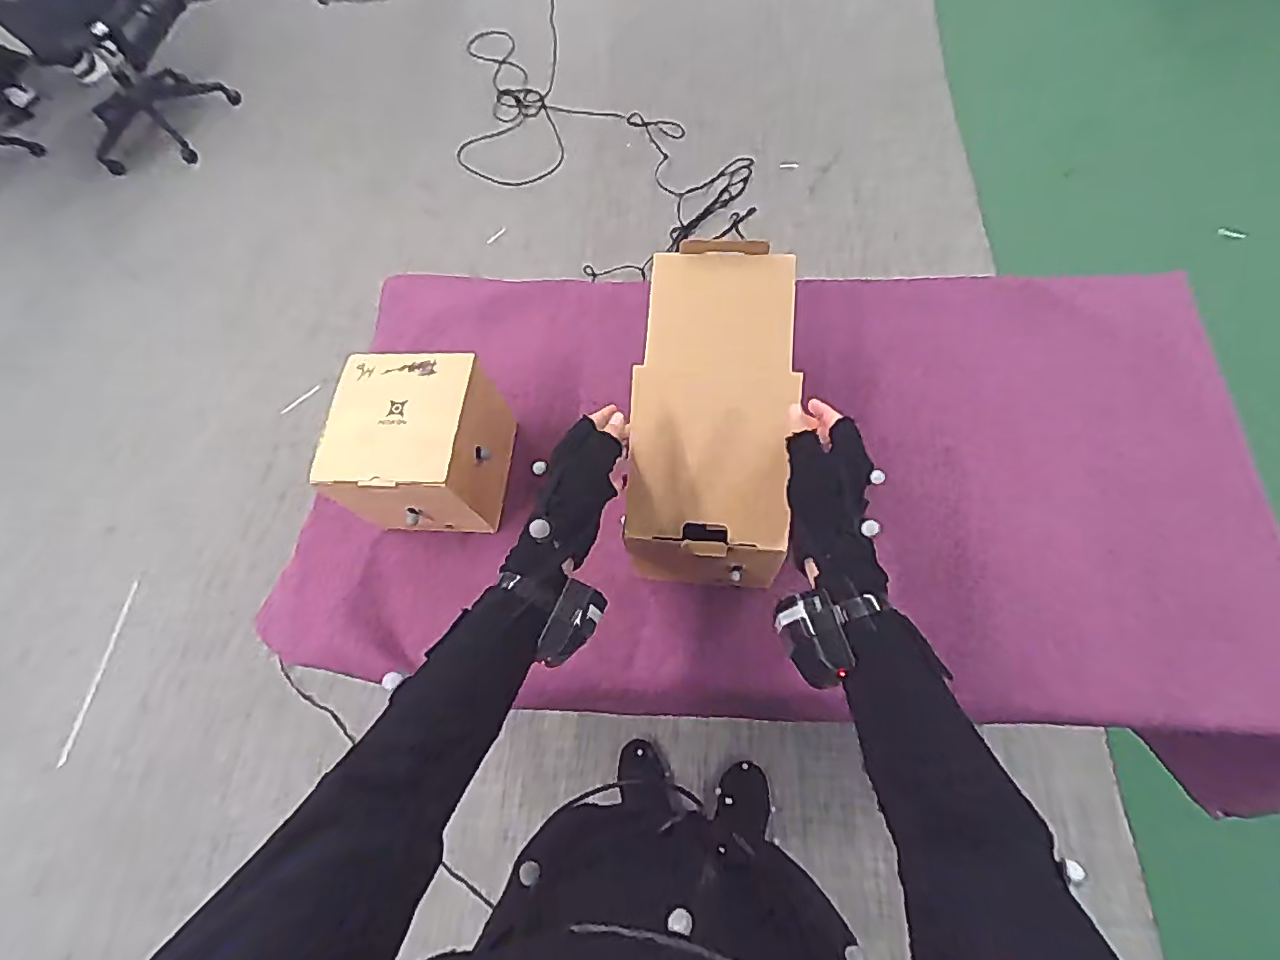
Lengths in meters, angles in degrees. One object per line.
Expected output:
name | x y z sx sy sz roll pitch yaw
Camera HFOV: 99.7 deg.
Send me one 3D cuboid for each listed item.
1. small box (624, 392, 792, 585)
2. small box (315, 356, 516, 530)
small box | 0.083 0.018 0.636 0.168 0.176 0.179 4 66 8
small box | -0.272 -0.041 0.702 0.168 0.176 0.179 1 67 7
